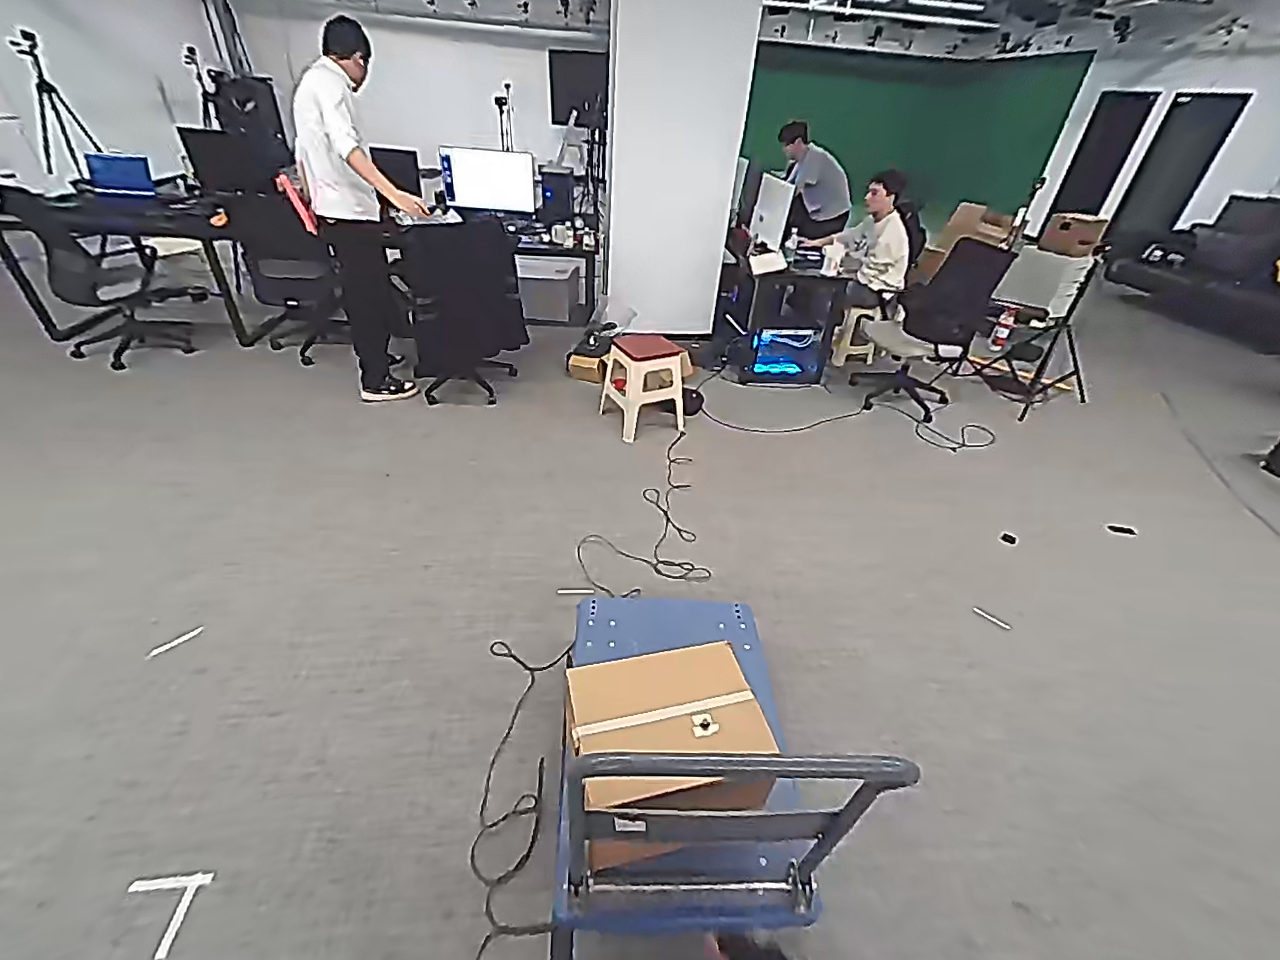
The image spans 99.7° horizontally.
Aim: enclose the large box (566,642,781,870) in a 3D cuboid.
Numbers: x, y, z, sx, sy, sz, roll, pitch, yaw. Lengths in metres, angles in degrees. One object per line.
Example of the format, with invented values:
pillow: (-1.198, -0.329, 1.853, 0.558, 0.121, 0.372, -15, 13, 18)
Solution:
large box: (0.051, 0.630, 1.262, 0.408, 0.320, 0.320, -5, 37, -15)
